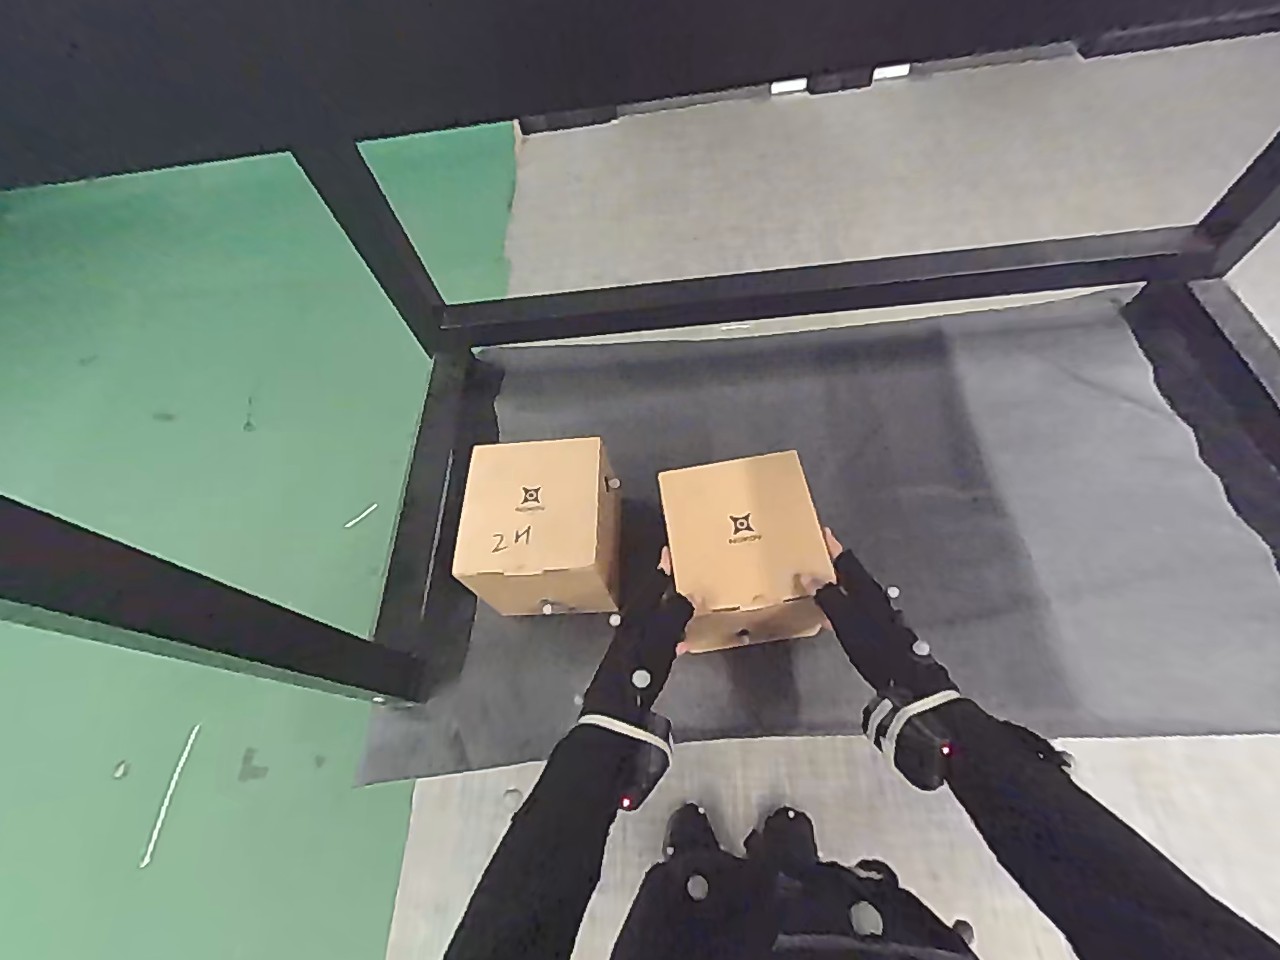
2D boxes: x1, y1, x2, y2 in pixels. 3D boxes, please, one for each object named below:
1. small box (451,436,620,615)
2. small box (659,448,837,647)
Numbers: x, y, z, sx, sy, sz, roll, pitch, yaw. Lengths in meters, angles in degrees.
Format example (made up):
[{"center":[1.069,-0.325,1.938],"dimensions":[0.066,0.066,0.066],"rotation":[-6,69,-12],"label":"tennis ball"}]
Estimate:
[{"center":[-0.121,0.065,0.706],"dimensions":[0.168,0.176,0.179],"rotation":[-4,60,7],"label":"small box"},{"center":[0.119,0.087,0.659],"dimensions":[0.168,0.176,0.179],"rotation":[-10,60,3],"label":"small box"}]
